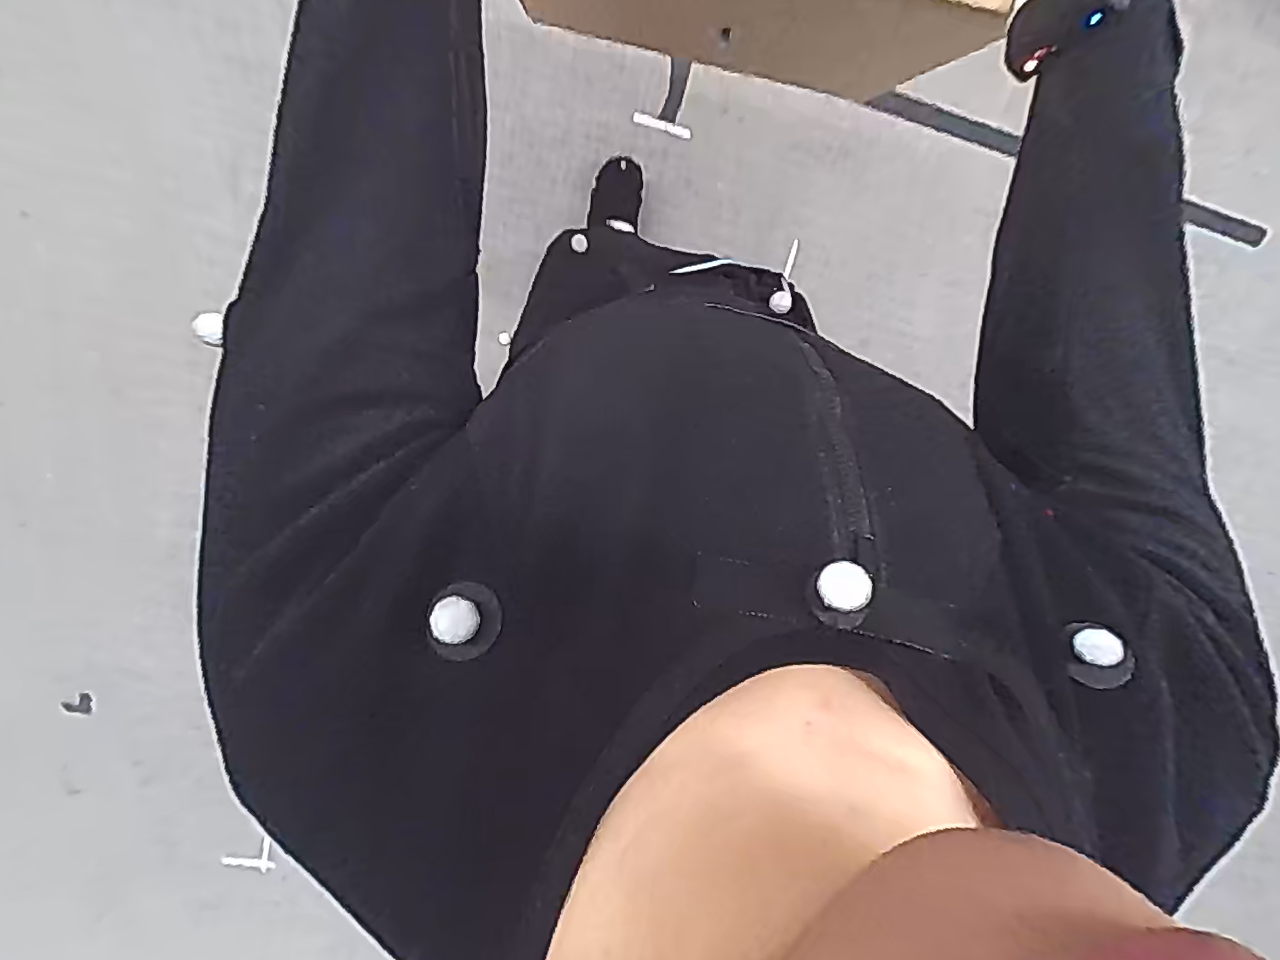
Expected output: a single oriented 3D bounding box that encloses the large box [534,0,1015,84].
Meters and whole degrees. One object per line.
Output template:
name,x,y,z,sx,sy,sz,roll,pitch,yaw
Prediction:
large box,0.107,-0.574,0.441,0.408,0.320,0.320,9,114,-6
